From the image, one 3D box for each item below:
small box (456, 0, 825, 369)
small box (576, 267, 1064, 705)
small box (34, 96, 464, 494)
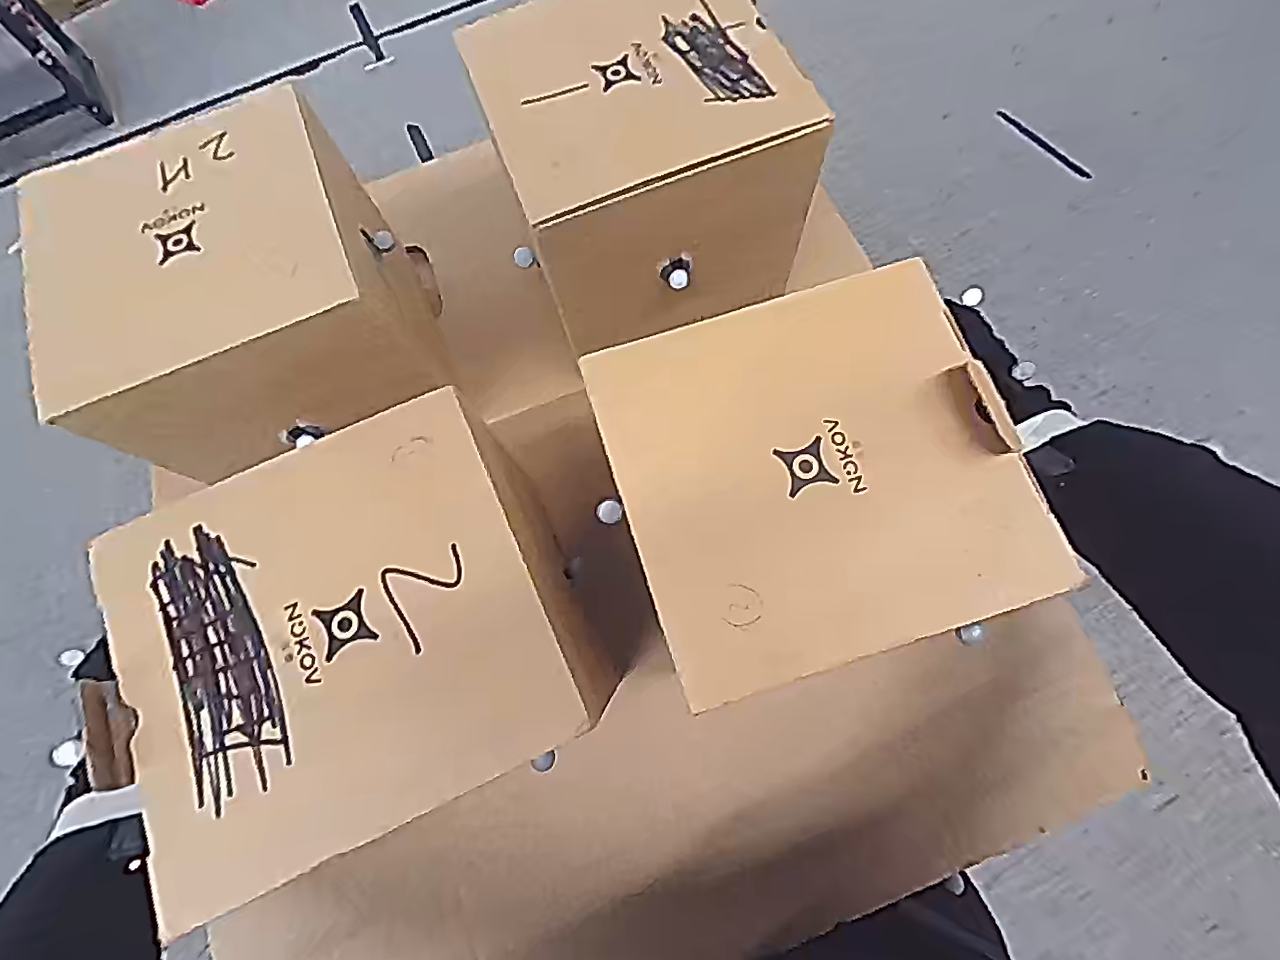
[{"bbox_3d":[0.000,-0.203,0.387,0.179,0.176,0.168,-21,72,-1],"label":"small box"},{"bbox_3d":[0.075,0.014,0.317,0.179,0.176,0.168,-16,77,-4],"label":"small box"},{"bbox_3d":[-0.244,-0.104,0.374,0.168,0.176,0.179,-23,71,-4],"label":"small box"}]
